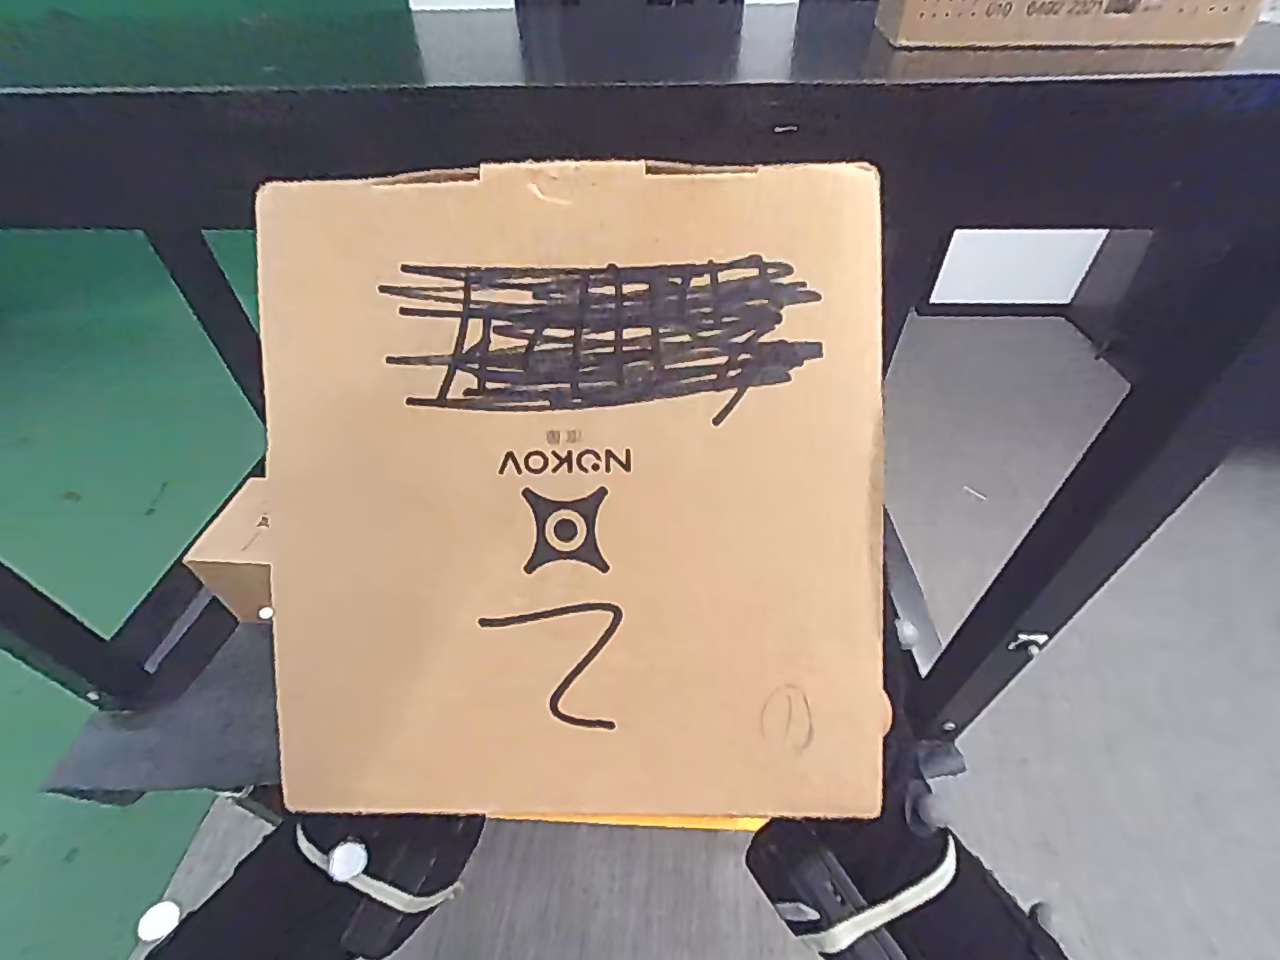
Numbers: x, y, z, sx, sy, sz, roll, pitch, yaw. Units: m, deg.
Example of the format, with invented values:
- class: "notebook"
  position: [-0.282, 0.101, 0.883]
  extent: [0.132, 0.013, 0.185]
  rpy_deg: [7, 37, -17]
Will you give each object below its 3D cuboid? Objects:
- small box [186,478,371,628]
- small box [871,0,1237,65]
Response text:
- class: "small box"
  position: [-0.568, 0.118, 0.888]
  extent: [0.168, 0.176, 0.179]
  rpy_deg: [2, 44, 3]
- class: "small box"
  position: [0.237, -0.342, 0.296]
  extent: [0.168, 0.176, 0.179]
  rpy_deg: [9, 44, 10]
